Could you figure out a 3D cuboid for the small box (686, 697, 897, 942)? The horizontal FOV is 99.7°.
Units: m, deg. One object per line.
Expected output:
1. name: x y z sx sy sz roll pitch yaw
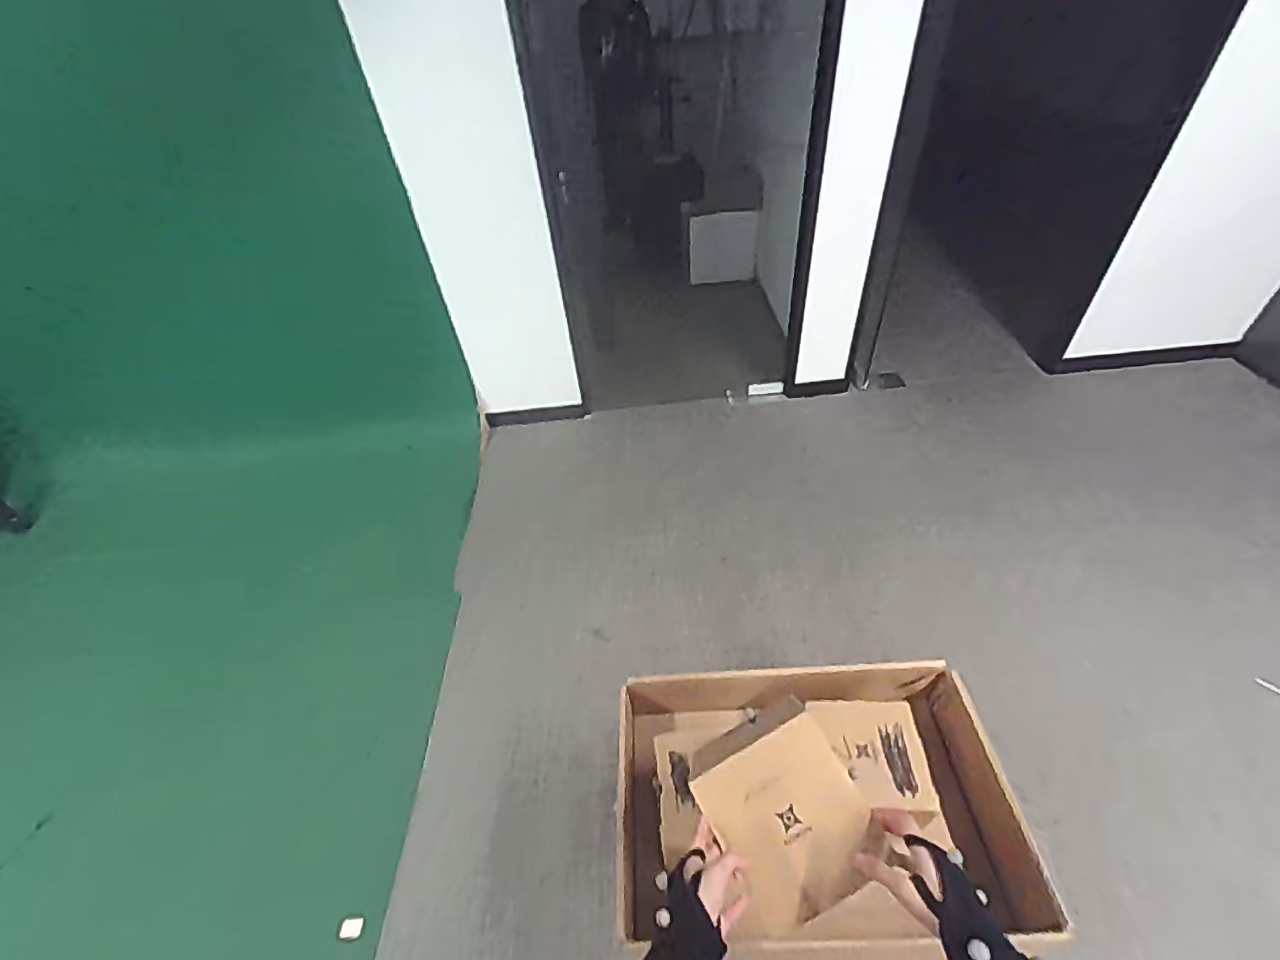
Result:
1. small box: 0.174 0.396 0.669 0.168 0.176 0.179 -31 74 0
